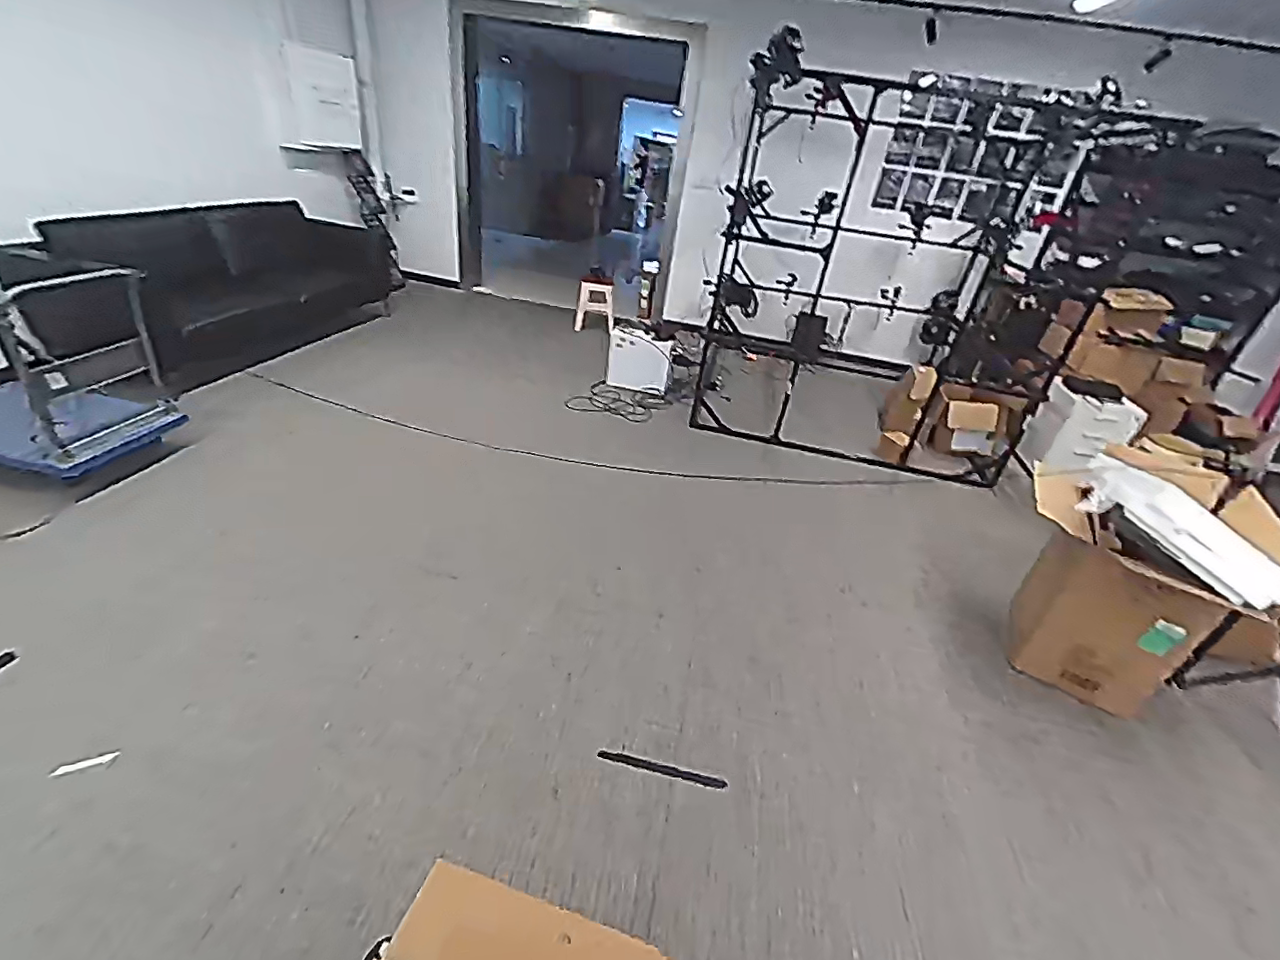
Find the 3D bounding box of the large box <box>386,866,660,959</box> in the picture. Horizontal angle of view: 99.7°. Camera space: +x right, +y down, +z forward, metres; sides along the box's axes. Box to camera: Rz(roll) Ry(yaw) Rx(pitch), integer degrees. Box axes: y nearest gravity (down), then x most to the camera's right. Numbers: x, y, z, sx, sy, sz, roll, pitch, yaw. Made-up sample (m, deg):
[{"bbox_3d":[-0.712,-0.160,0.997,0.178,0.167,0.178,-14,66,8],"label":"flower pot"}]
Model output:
[{"bbox_3d":[-0.208,0.892,0.829,0.408,0.320,0.320,14,31,10],"label":"large box"}]
